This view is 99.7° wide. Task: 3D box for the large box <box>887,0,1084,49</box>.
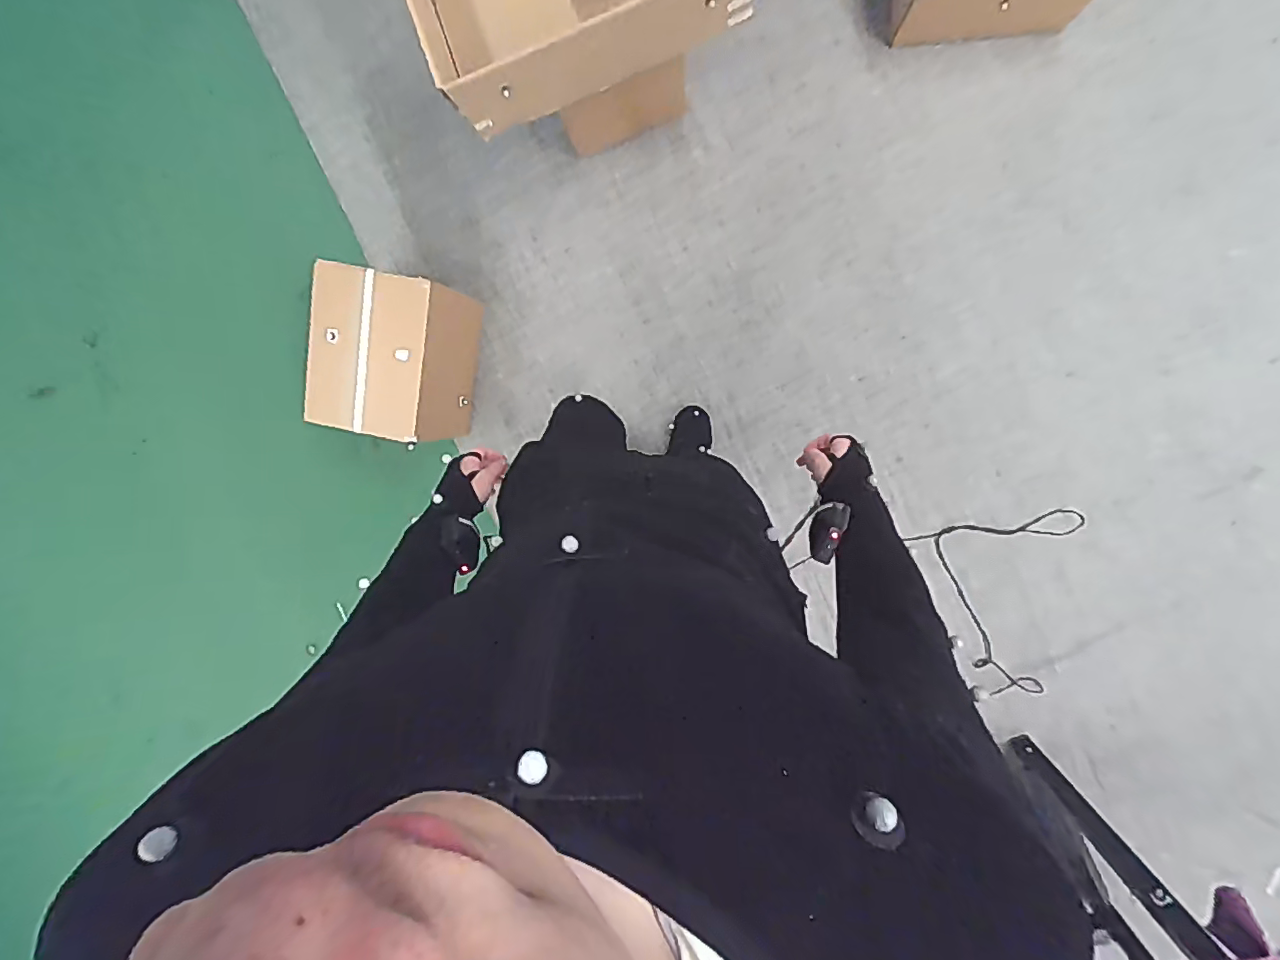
[{"bbox_3d":[0.797,-1.214,1.171,0.408,0.320,0.320,-1,99,8],"label":"large box"}]
